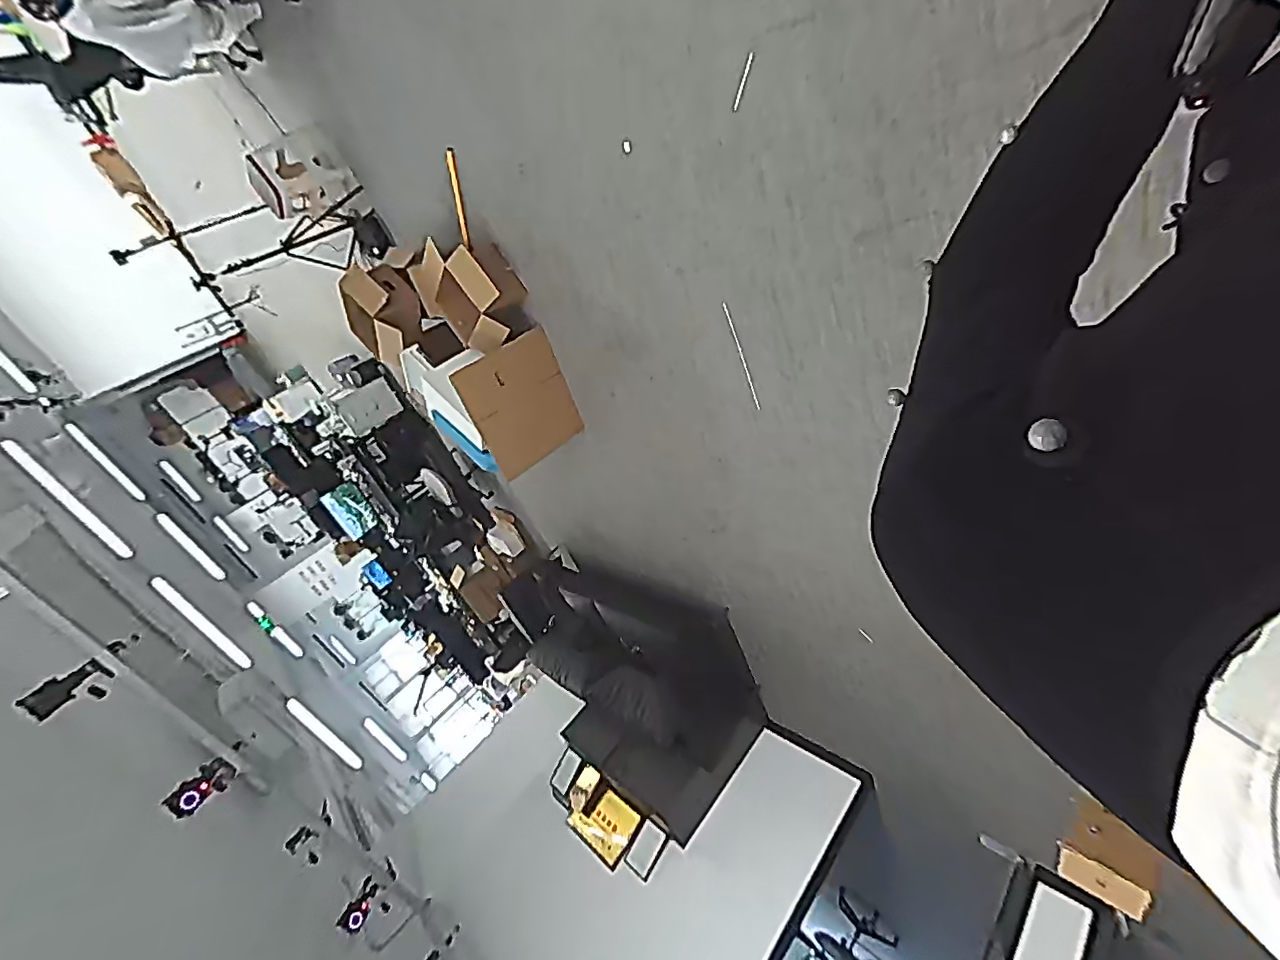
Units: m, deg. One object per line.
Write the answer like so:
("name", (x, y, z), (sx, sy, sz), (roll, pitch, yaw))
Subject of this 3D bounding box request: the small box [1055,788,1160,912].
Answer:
("small box", (1.177, 0.923, 1.364), (0.168, 0.176, 0.179), (16, 139, 45))

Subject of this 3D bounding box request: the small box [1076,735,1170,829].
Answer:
("small box", (1.280, 0.824, 1.441), (0.168, 0.176, 0.179), (16, 138, 43))
